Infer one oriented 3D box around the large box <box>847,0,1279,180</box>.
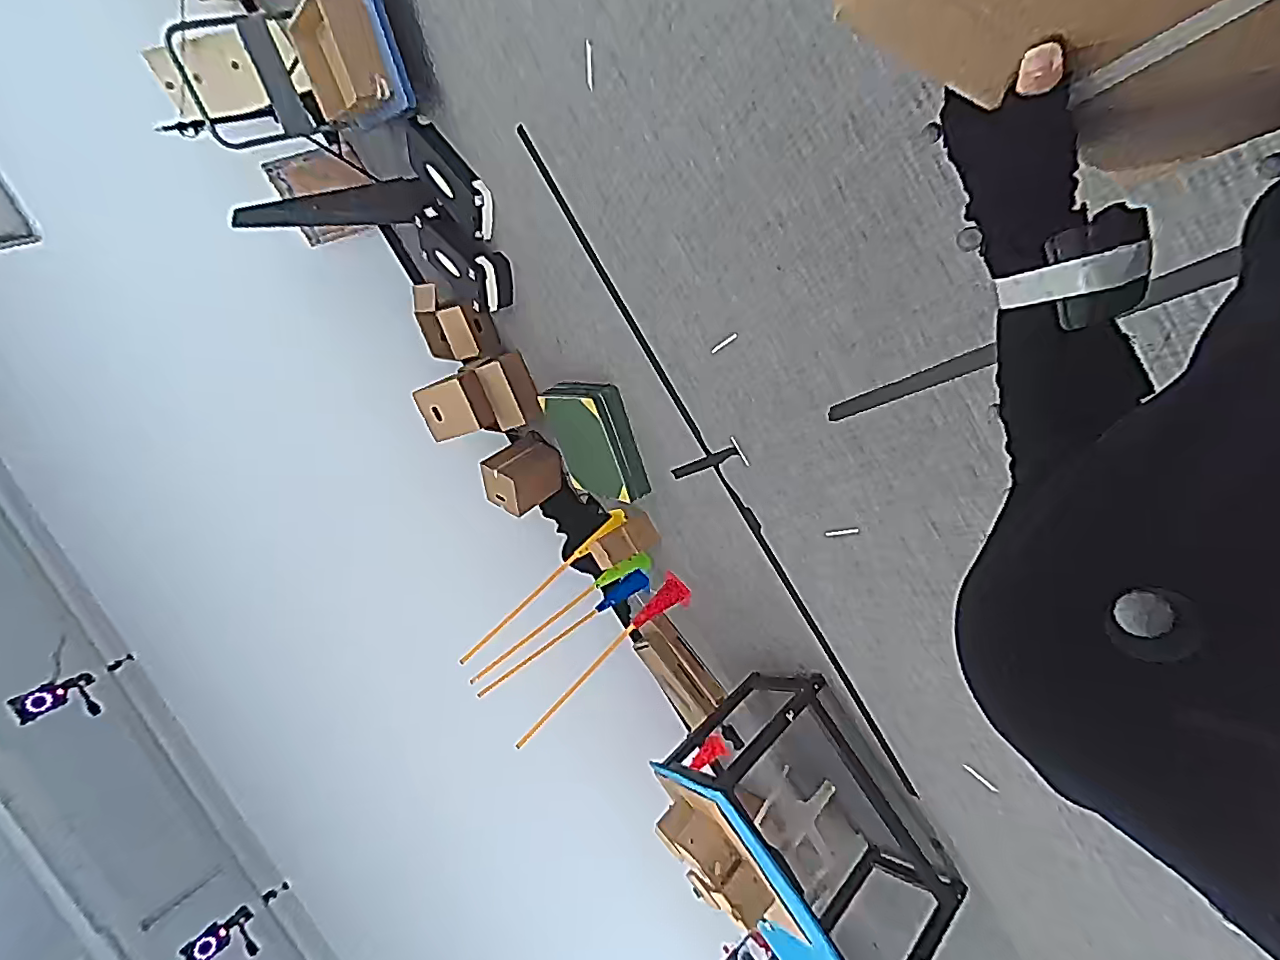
[{"bbox_3d":[0.321,-0.378,0.162,0.408,0.320,0.320,-2,88,61],"label":"large box"}]
